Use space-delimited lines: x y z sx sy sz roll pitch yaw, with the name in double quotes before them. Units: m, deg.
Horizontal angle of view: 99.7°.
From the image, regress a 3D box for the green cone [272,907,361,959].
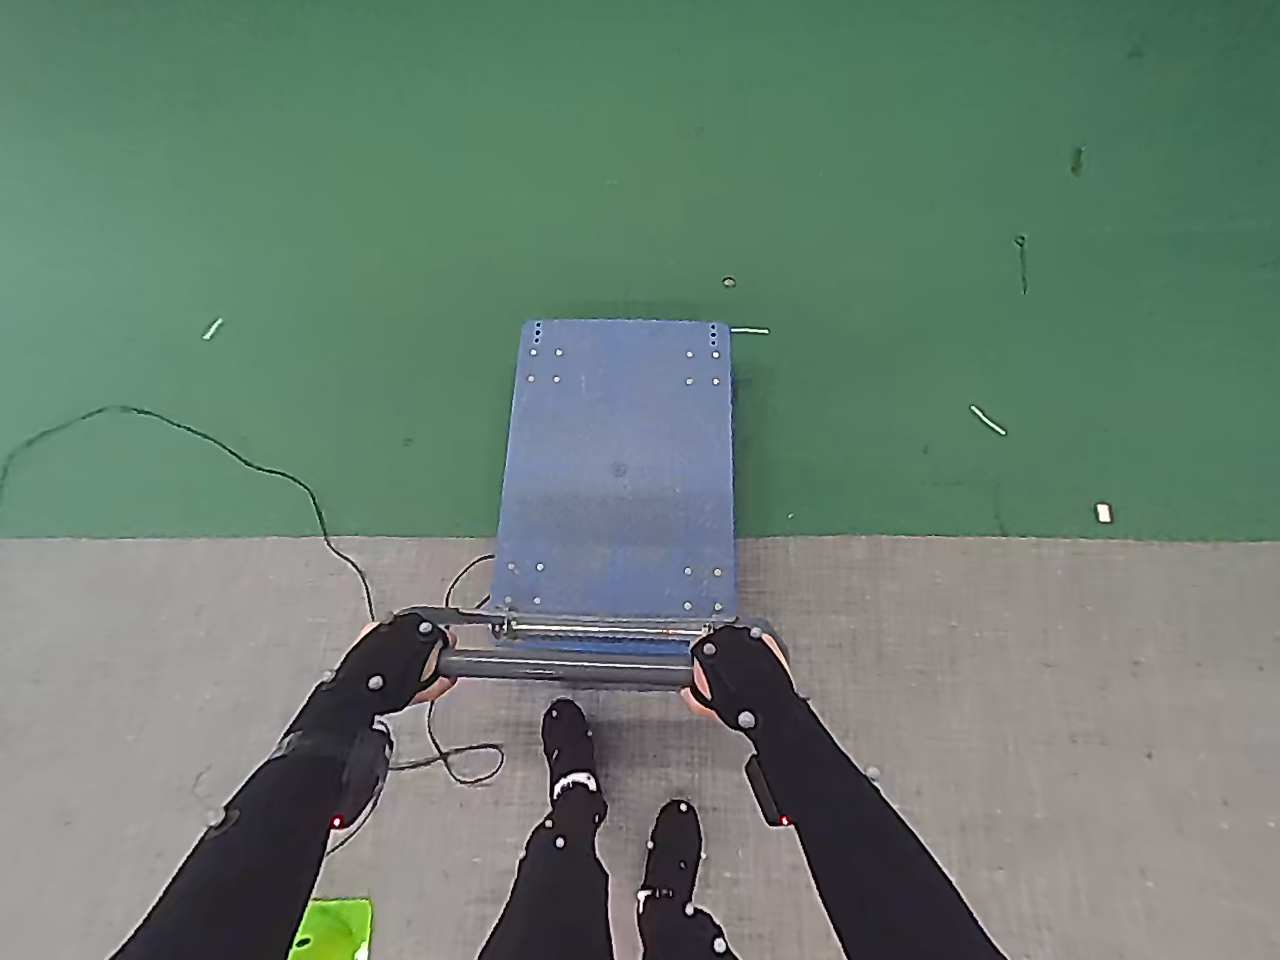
"green cone" -0.727 1.008 1.028 0.202 0.368 0.200 -4 72 3
